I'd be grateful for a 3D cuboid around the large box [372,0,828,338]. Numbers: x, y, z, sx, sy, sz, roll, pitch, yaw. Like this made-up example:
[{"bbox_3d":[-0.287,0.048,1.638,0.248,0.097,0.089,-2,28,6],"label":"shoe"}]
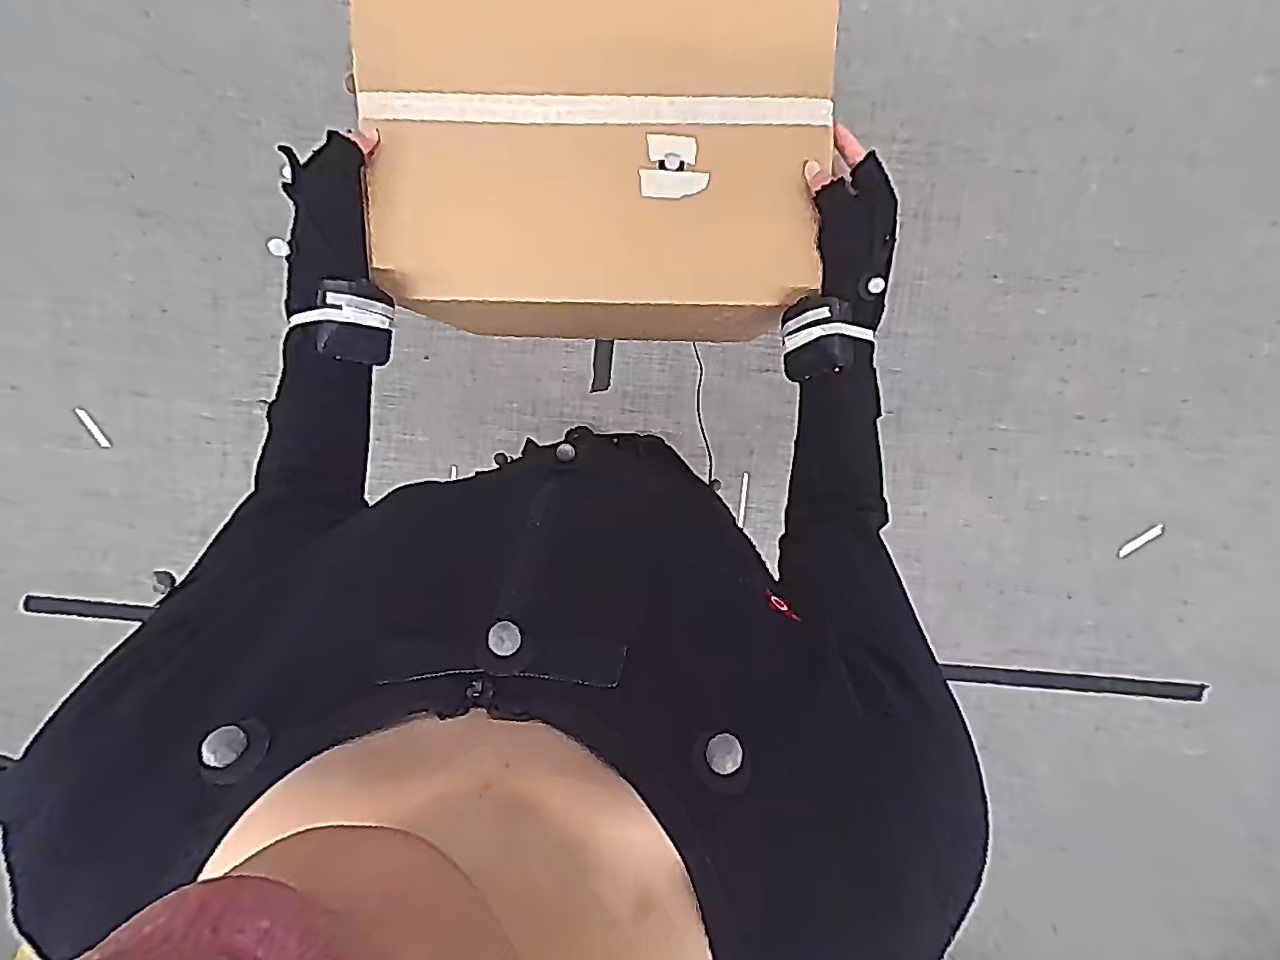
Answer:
[{"bbox_3d":[-0.038,-0.341,0.629,0.408,0.320,0.320,1,99,-1],"label":"large box"}]
